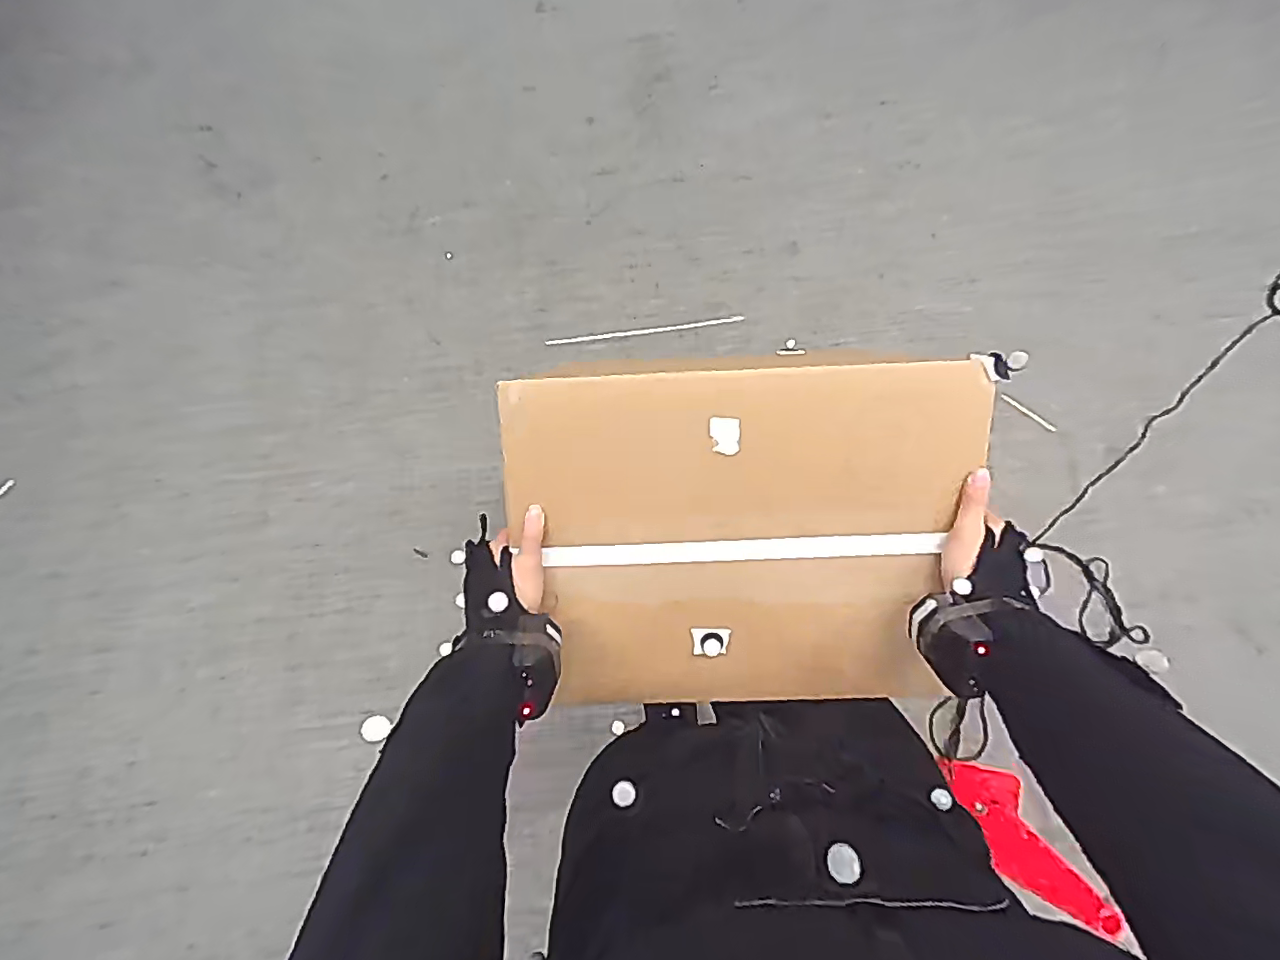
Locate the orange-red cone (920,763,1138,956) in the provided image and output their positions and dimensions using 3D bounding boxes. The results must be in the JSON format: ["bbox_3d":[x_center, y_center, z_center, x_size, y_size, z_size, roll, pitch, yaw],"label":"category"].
[{"bbox_3d":[0.670,0.660,0.914,0.199,0.360,0.198,14,81,3],"label":"orange-red cone"}]
